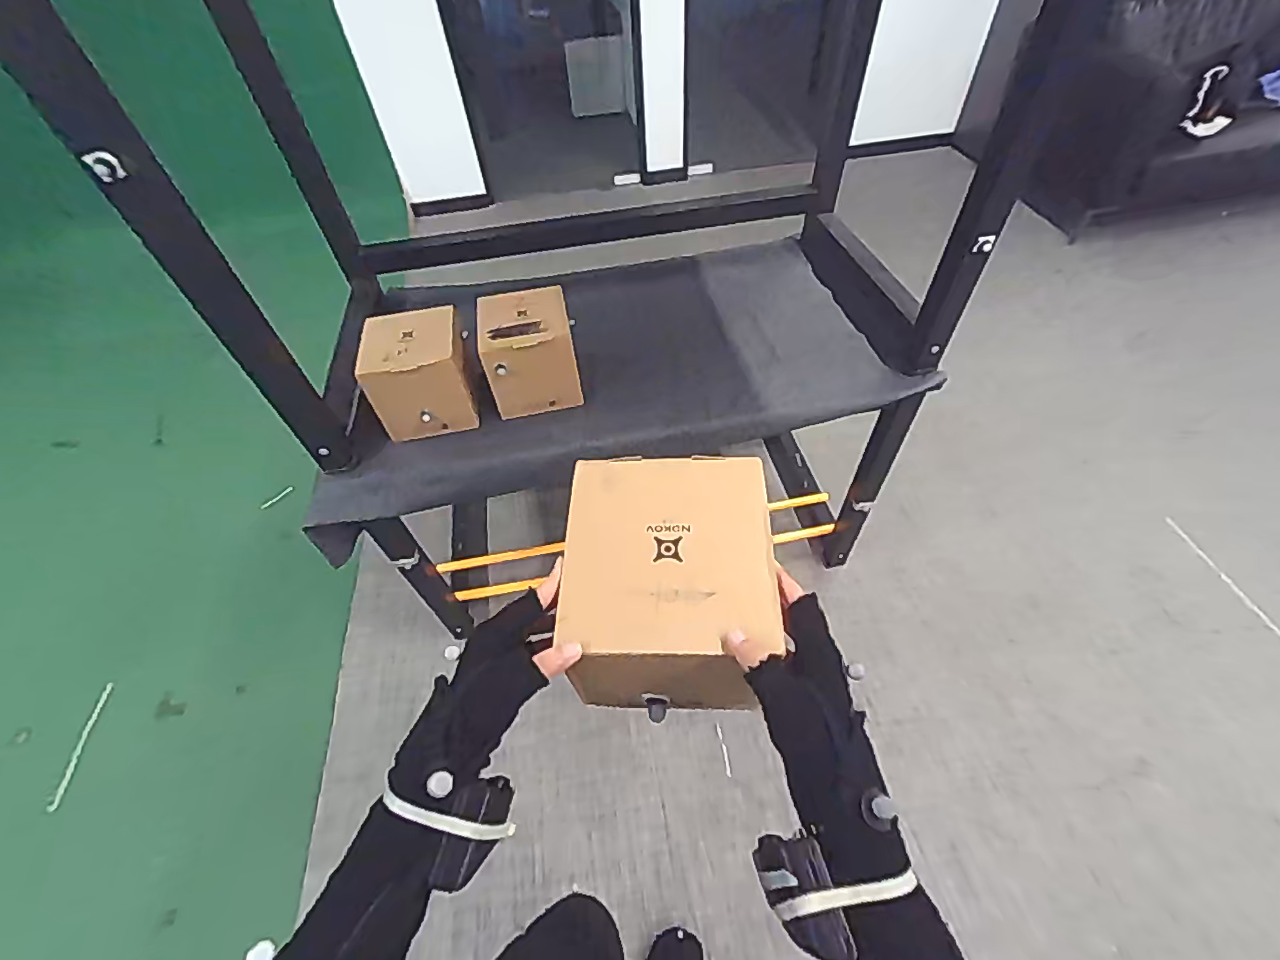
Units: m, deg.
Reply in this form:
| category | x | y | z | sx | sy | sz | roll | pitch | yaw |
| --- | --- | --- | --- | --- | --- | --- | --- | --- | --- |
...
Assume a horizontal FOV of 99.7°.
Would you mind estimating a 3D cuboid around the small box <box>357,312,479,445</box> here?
| category | x | y | z | sx | sy | sz | roll | pitch | yaw |
| --- | --- | --- | --- | --- | --- | --- | --- | --- | --- |
| small box | -0.413 | -0.193 | 1.036 | 0.168 | 0.176 | 0.179 | -11 | 51 | -6 |
